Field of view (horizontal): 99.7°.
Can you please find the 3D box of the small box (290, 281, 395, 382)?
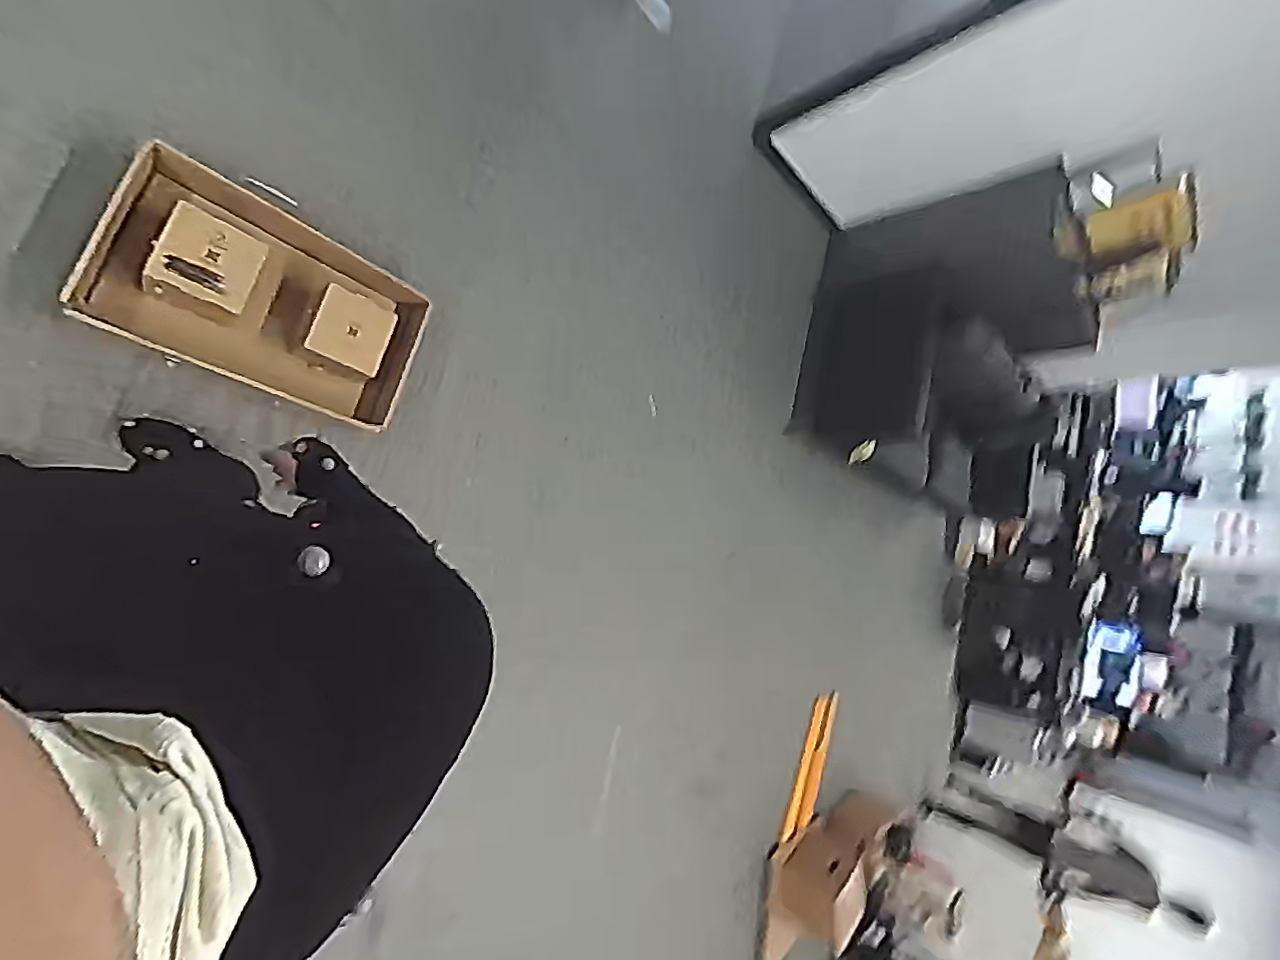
[{"bbox_3d":[-0.755,-0.365,1.364,0.168,0.176,0.179,26,75,-40],"label":"small box"}]
